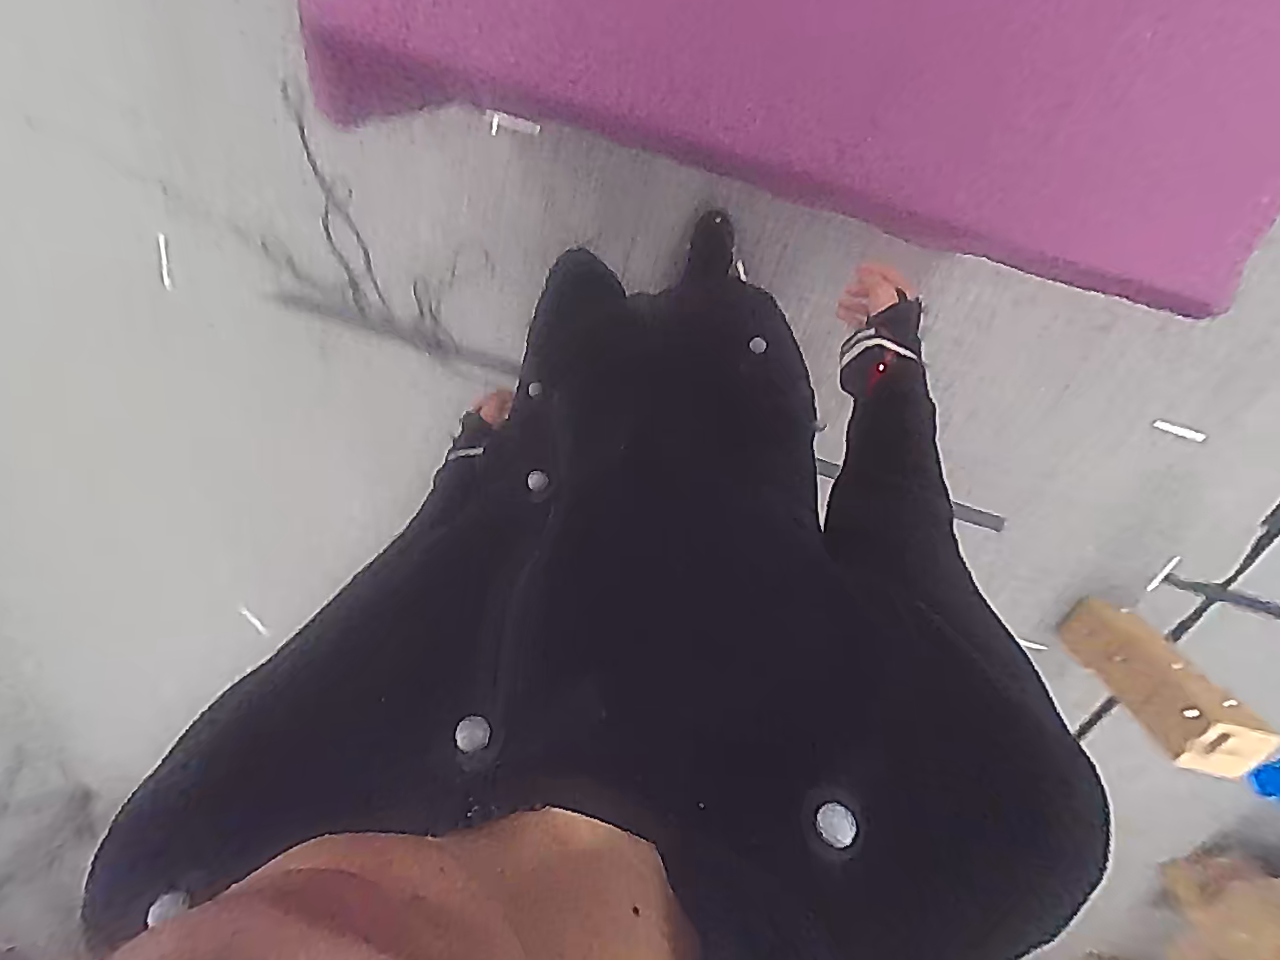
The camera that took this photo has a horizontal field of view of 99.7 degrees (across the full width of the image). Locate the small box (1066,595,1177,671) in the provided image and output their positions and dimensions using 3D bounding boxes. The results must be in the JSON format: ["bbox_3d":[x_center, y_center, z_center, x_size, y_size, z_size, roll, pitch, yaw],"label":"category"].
[{"bbox_3d":[1.501,0.496,1.705,0.168,0.176,0.179,15,116,-2],"label":"small box"}]

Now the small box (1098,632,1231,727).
[{"bbox_3d":[1.499,0.568,1.559,0.179,0.176,0.168,20,117,-3],"label":"small box"}]
